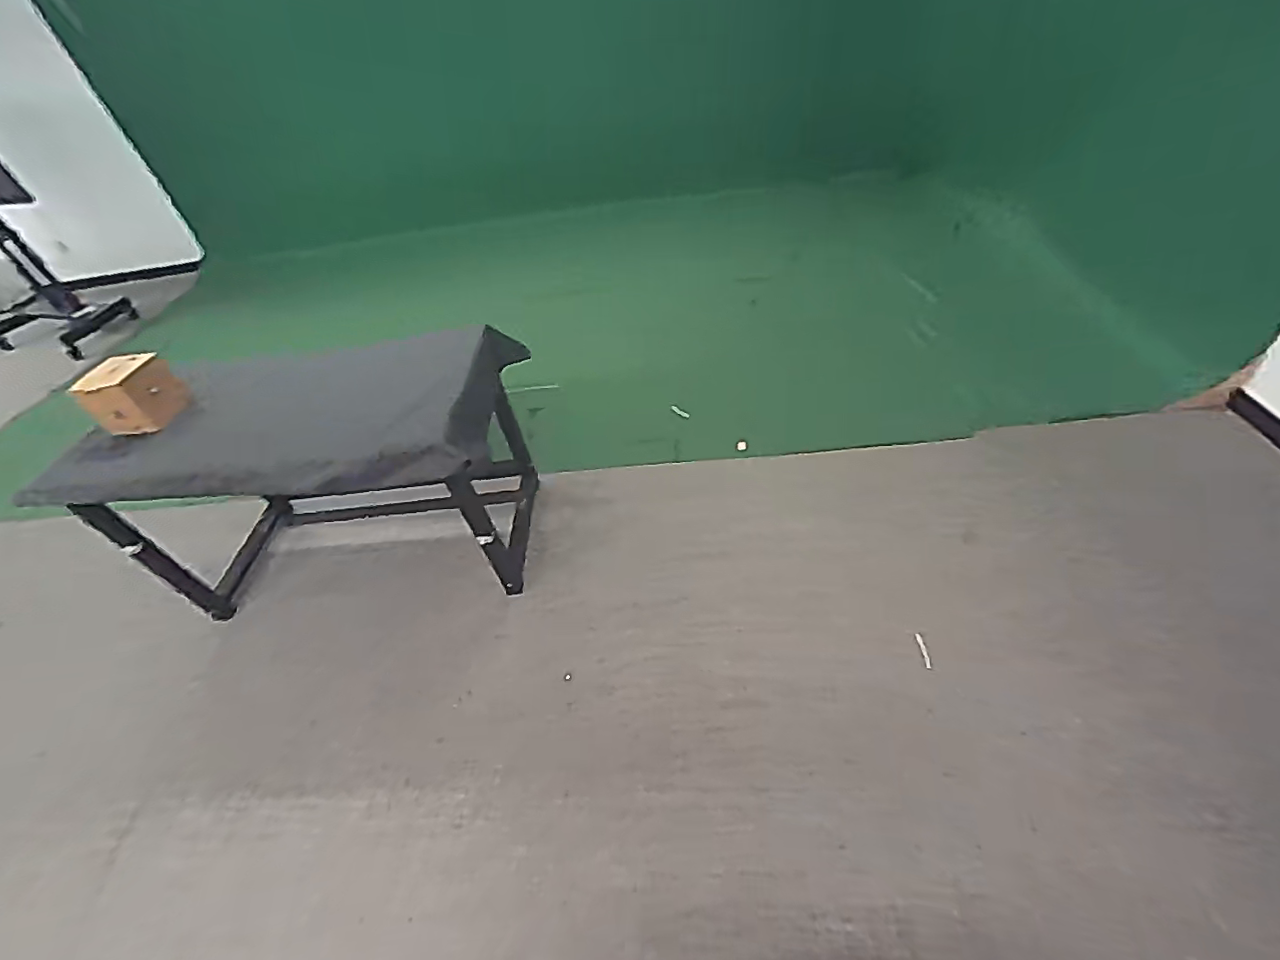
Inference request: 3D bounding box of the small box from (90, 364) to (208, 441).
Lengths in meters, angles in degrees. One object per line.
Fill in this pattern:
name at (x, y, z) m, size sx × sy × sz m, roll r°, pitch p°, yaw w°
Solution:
small box at (-1.498, -0.233, 1.667) m, size 0.168 × 0.176 × 0.179 m, roll -4°, pitch 44°, yaw 7°
